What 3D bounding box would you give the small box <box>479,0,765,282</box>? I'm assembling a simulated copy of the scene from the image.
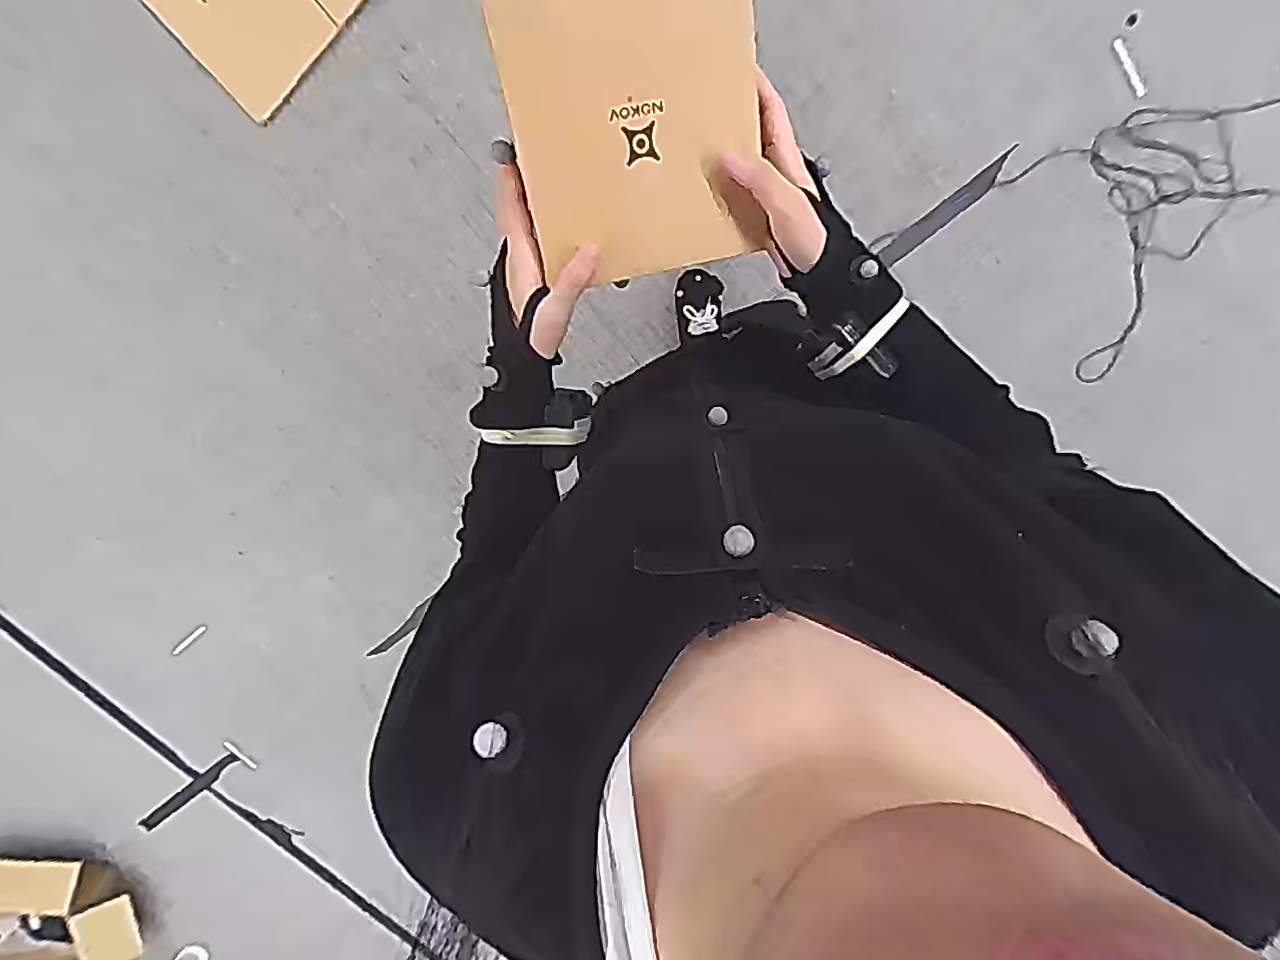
[{"bbox_3d":[-0.013,-0.269,0.423,0.168,0.176,0.179,-14,117,-4],"label":"small box"}]
